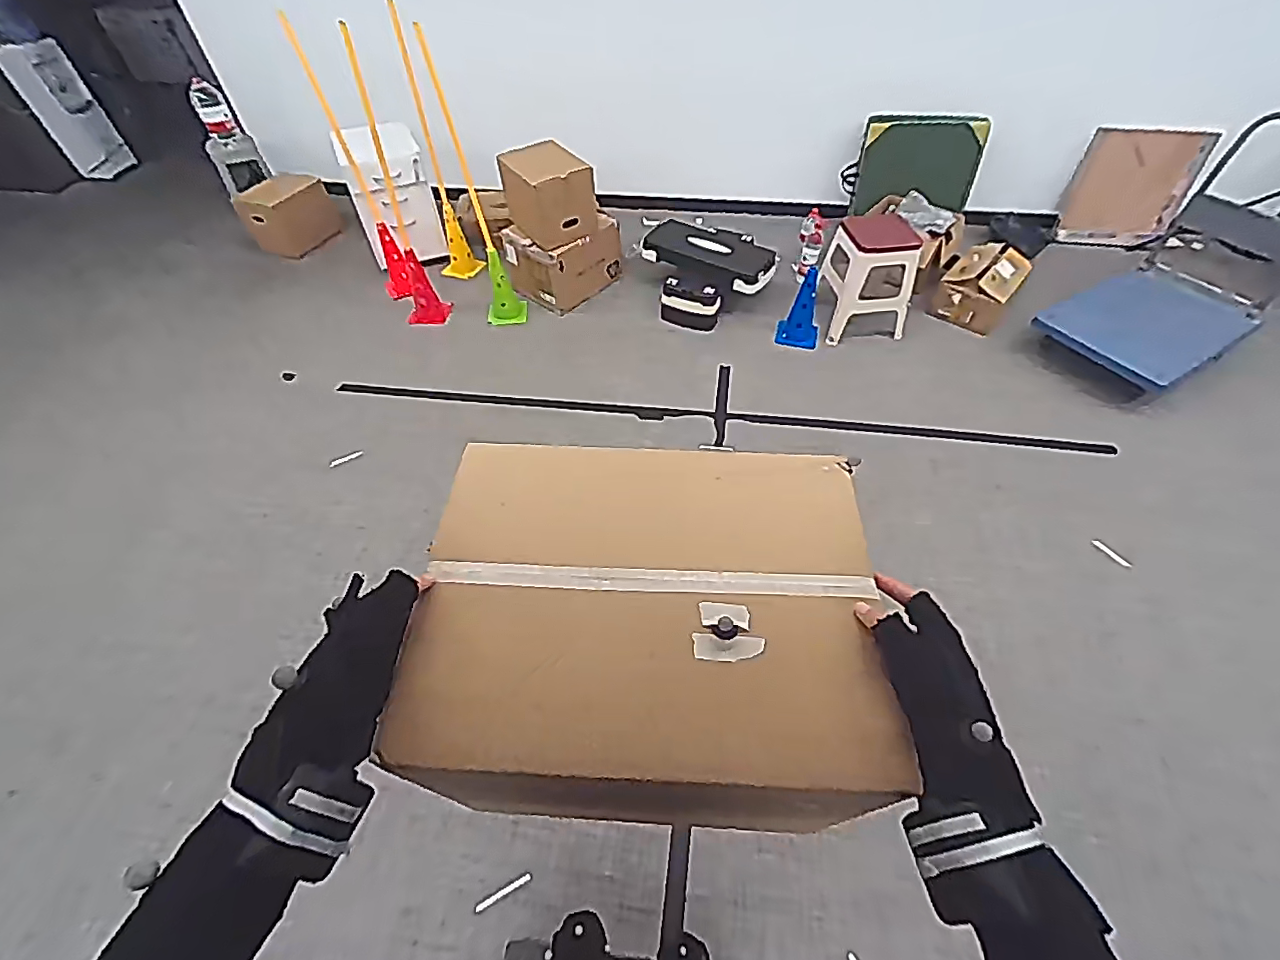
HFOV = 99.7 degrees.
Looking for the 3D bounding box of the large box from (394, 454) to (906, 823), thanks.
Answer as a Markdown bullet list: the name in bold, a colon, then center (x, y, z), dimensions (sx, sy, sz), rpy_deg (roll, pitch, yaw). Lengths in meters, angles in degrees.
- **large box**: center (0.009, 0.189, 0.619), dimensions (0.408, 0.320, 0.320), rpy_deg (3, 53, 2)
